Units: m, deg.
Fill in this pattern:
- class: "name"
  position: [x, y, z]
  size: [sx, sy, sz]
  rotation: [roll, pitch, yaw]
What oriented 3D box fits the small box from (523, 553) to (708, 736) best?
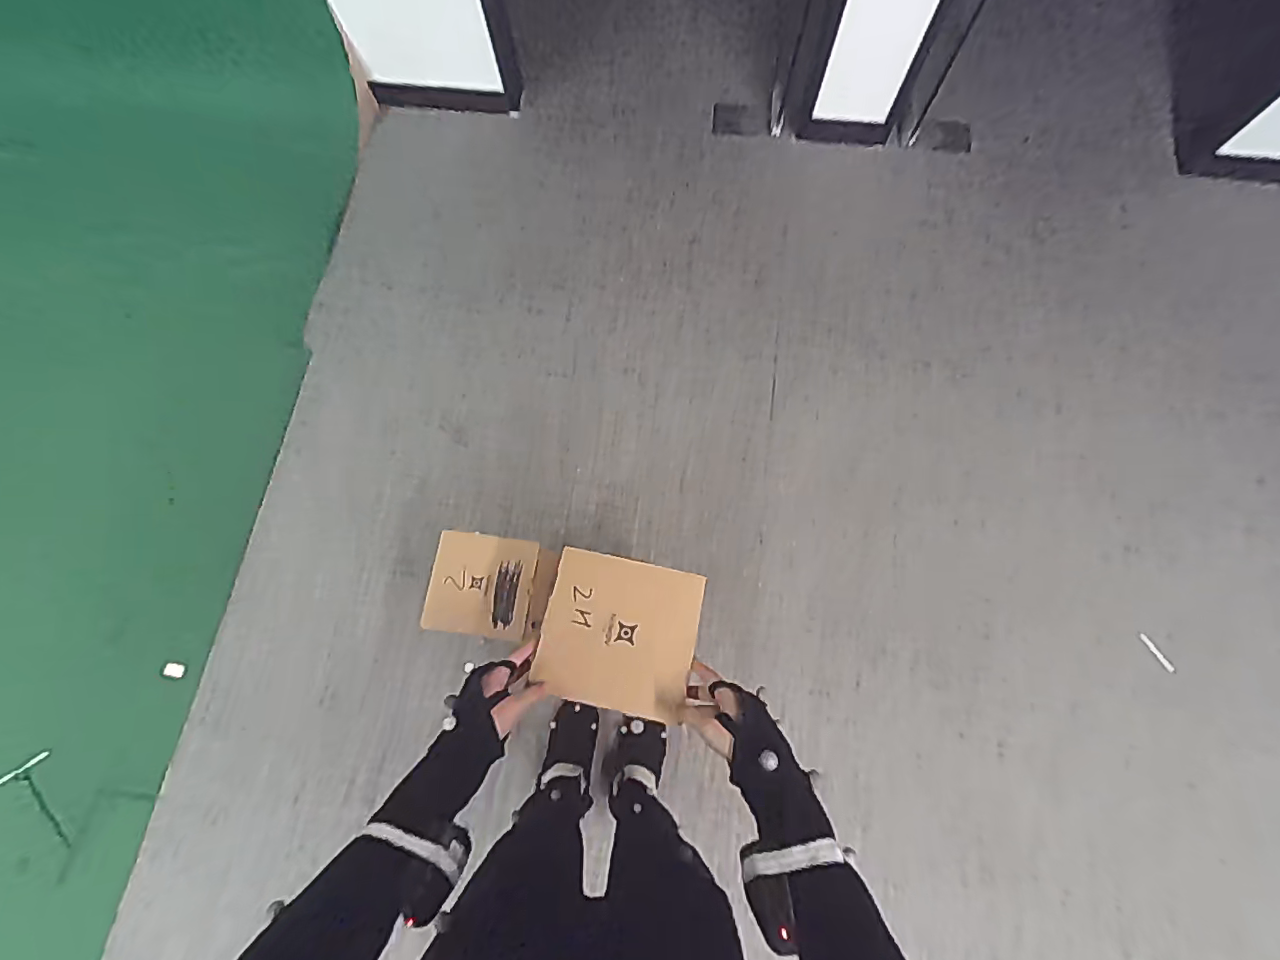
- class: "small box"
  position: [-0.024, 0.206, 0.673]
  size: [0.179, 0.176, 0.168]
  rotation: [12, 67, 5]
